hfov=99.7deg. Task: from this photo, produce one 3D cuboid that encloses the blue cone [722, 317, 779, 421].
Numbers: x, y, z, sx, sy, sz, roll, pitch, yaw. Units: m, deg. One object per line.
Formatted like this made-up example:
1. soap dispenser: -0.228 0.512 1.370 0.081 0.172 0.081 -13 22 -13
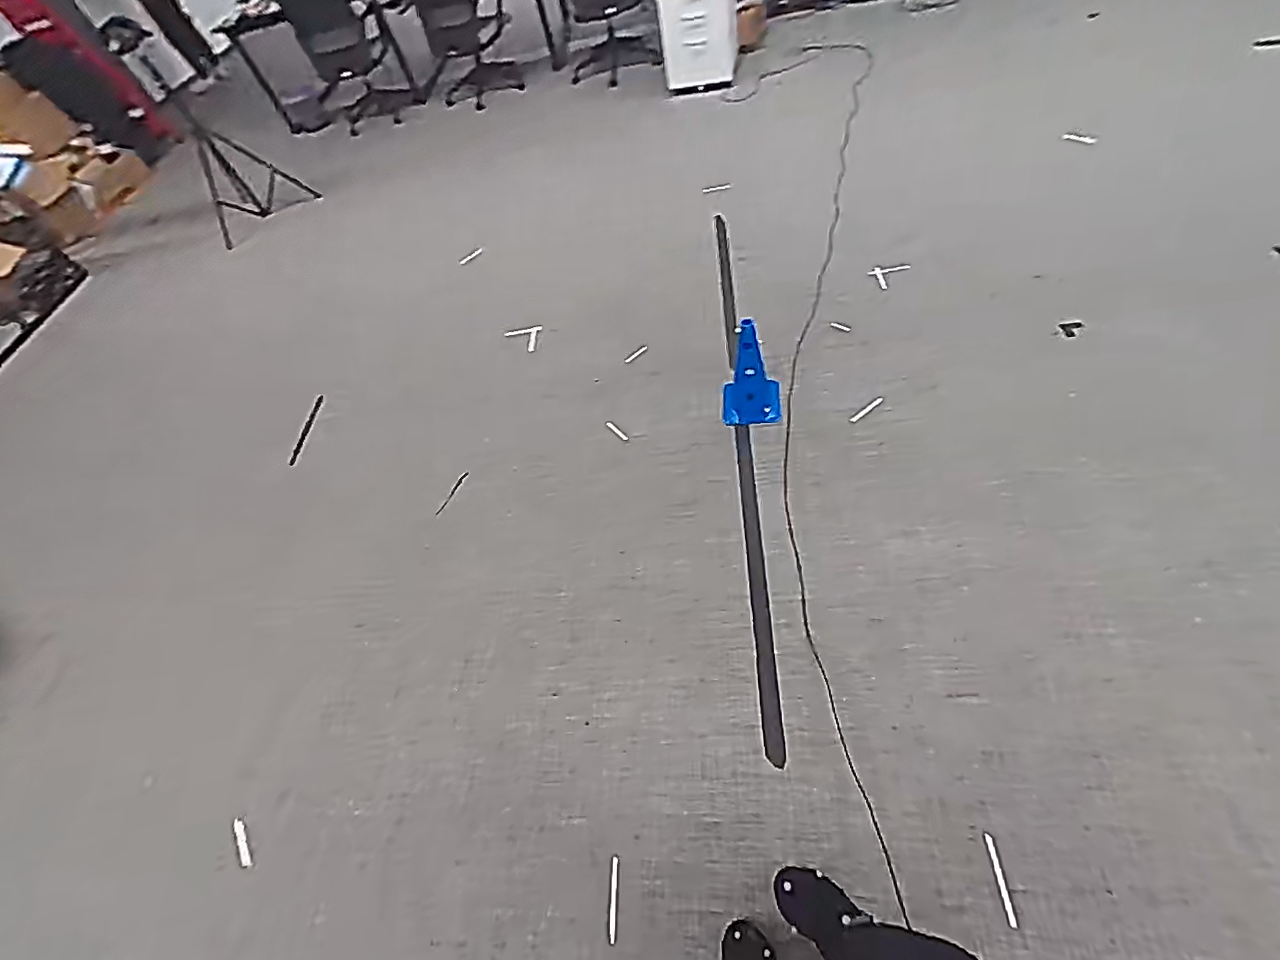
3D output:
1. blue cone: 0.355 -0.380 1.775 0.193 0.380 0.192 -3 54 11
